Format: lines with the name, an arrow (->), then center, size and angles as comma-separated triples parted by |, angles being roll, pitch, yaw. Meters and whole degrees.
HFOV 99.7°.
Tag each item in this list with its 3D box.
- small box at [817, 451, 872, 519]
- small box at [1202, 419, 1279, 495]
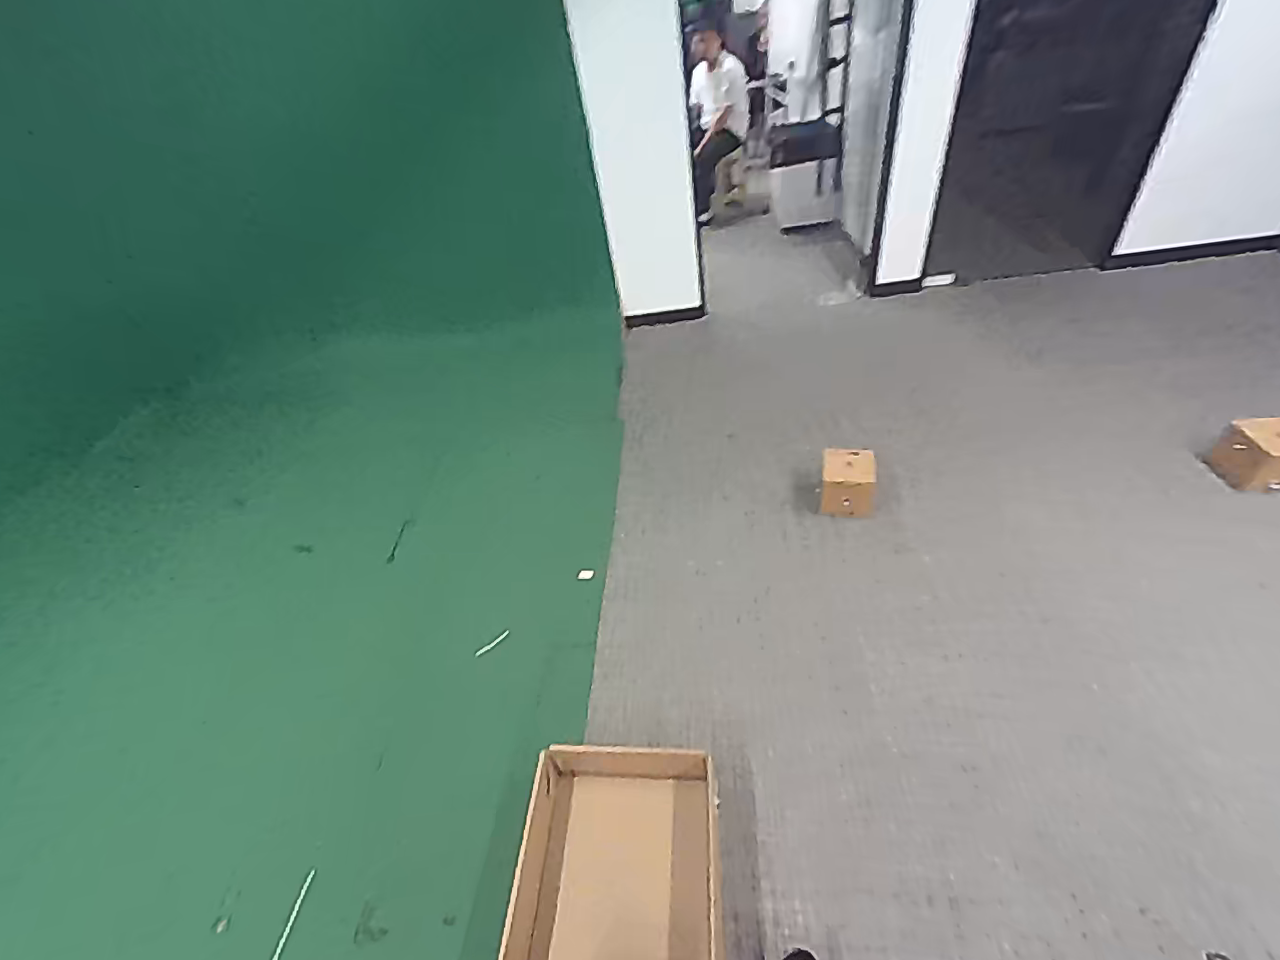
small box -> 0.719, 0.019, 1.903 | 0.168, 0.176, 0.179 | 4, 44, 17
small box -> 1.988, -0.073, 1.734 | 0.168, 0.176, 0.179 | -5, 43, 8
